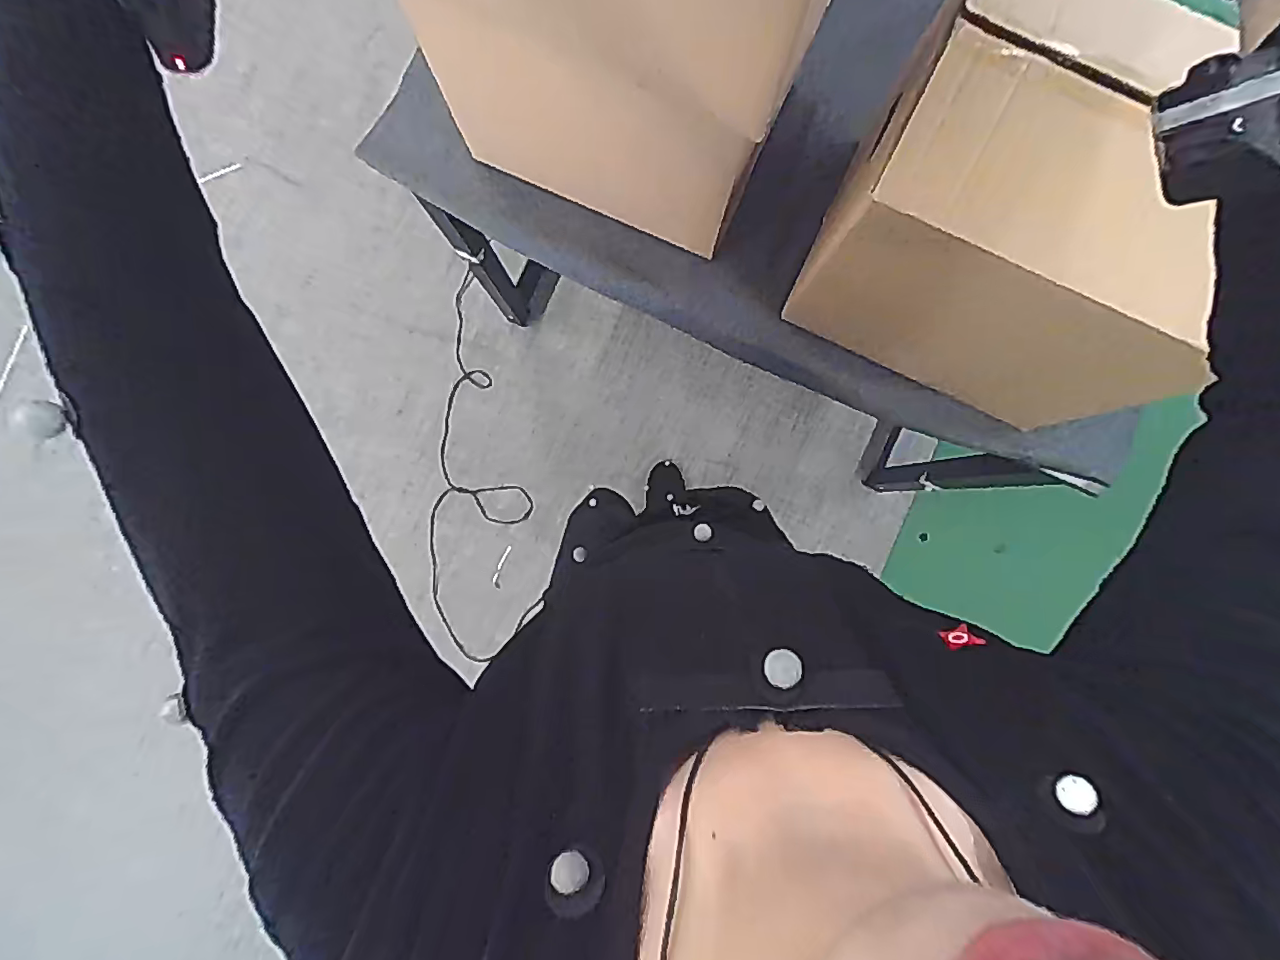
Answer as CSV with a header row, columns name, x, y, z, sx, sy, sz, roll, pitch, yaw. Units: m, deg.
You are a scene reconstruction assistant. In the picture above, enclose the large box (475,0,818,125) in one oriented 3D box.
name,x,y,z,sx,sy,sz,roll,pitch,yaw
large box,-0.003,-0.550,0.365,0.408,0.320,0.320,25,89,-1
